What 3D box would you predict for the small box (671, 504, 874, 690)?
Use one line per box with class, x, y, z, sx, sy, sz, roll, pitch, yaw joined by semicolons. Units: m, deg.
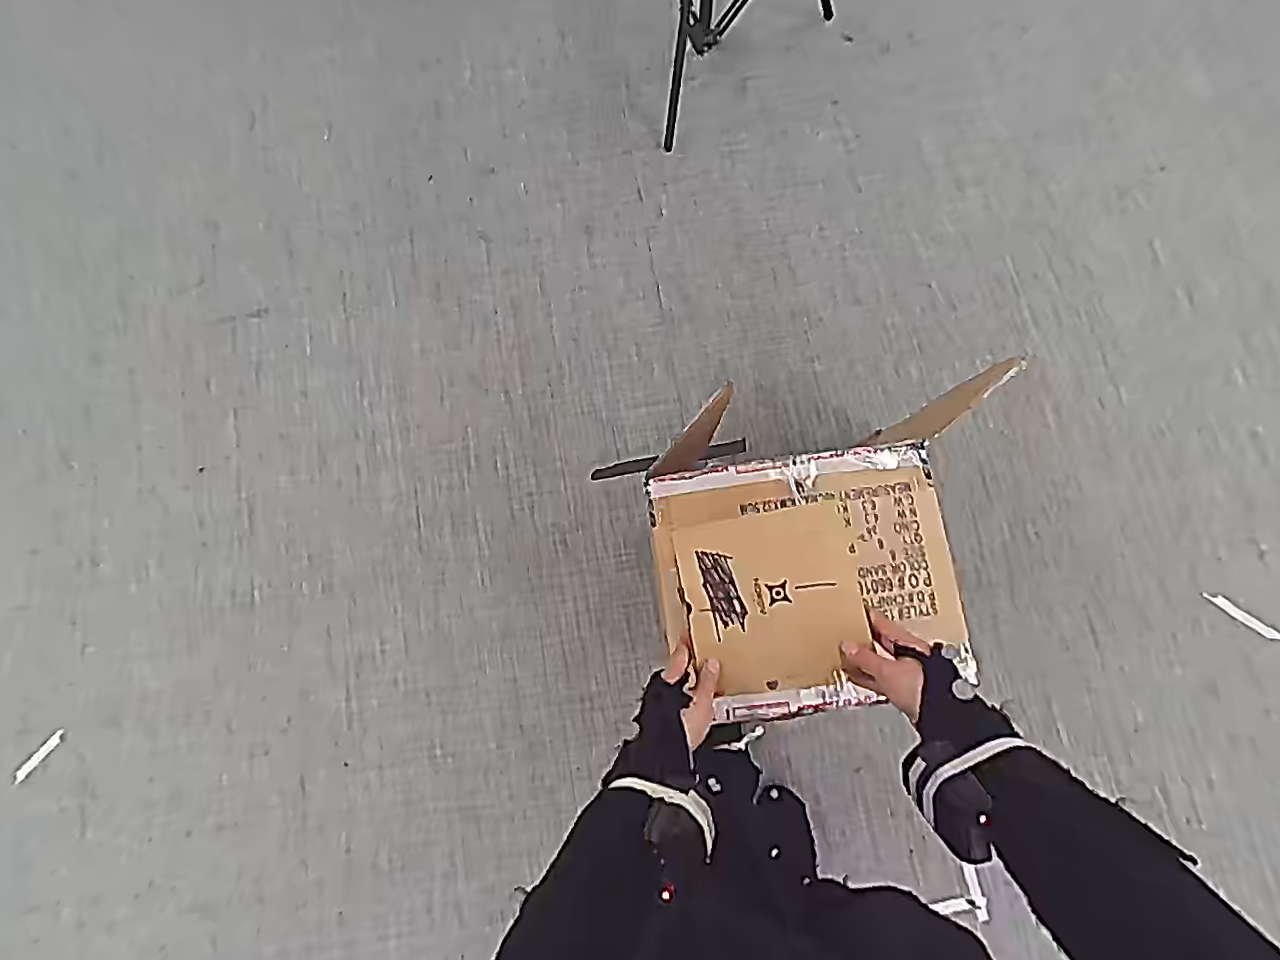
small box;0.138;0.137;0.624;0.179;0.176;0.168;-11;75;3
